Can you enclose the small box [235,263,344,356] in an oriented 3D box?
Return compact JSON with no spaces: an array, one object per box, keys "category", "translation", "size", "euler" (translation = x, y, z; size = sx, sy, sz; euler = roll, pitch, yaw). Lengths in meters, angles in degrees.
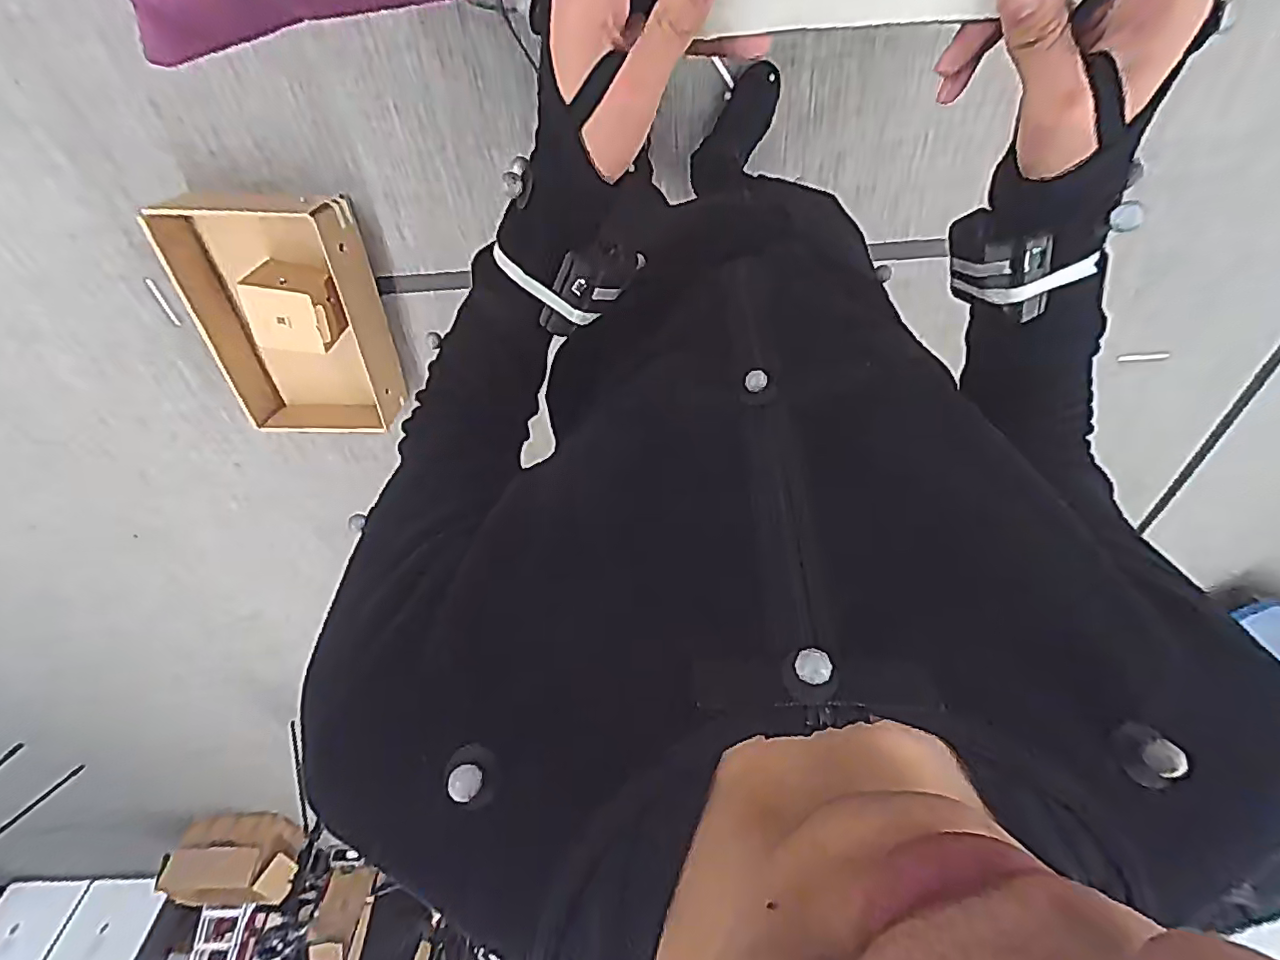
[{"category":"small box","translation":[-0.894,-0.447,1.405],"size":[0.179,0.176,0.168],"euler":[6,132,-7]}]
